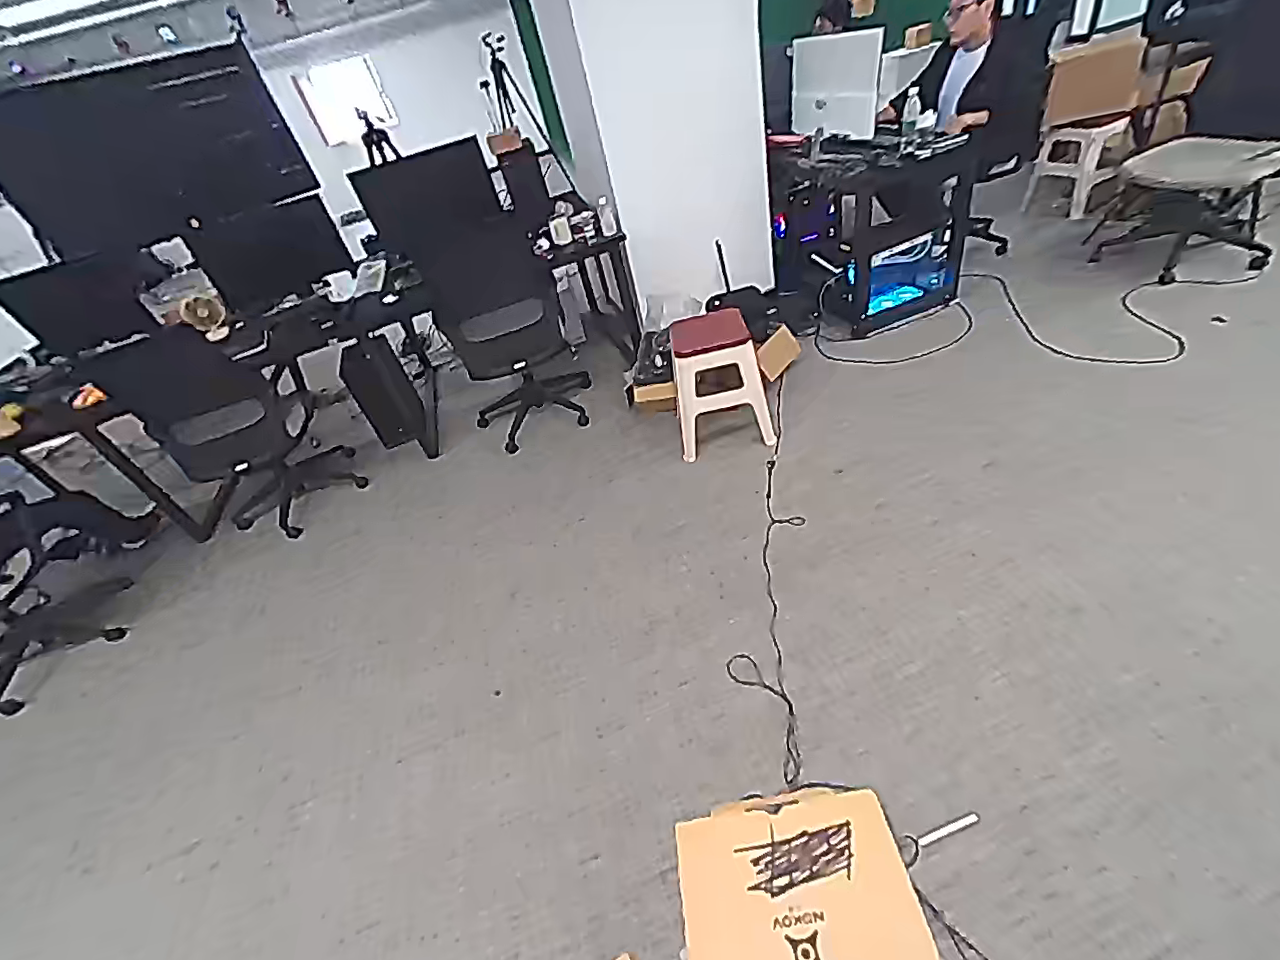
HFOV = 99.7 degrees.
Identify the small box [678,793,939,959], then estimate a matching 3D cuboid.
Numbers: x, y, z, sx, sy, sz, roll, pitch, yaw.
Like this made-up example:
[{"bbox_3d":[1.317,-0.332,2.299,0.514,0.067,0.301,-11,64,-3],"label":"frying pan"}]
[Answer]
[{"bbox_3d":[0.131,0.379,0.410,0.168,0.176,0.179,-14,32,6],"label":"small box"}]
